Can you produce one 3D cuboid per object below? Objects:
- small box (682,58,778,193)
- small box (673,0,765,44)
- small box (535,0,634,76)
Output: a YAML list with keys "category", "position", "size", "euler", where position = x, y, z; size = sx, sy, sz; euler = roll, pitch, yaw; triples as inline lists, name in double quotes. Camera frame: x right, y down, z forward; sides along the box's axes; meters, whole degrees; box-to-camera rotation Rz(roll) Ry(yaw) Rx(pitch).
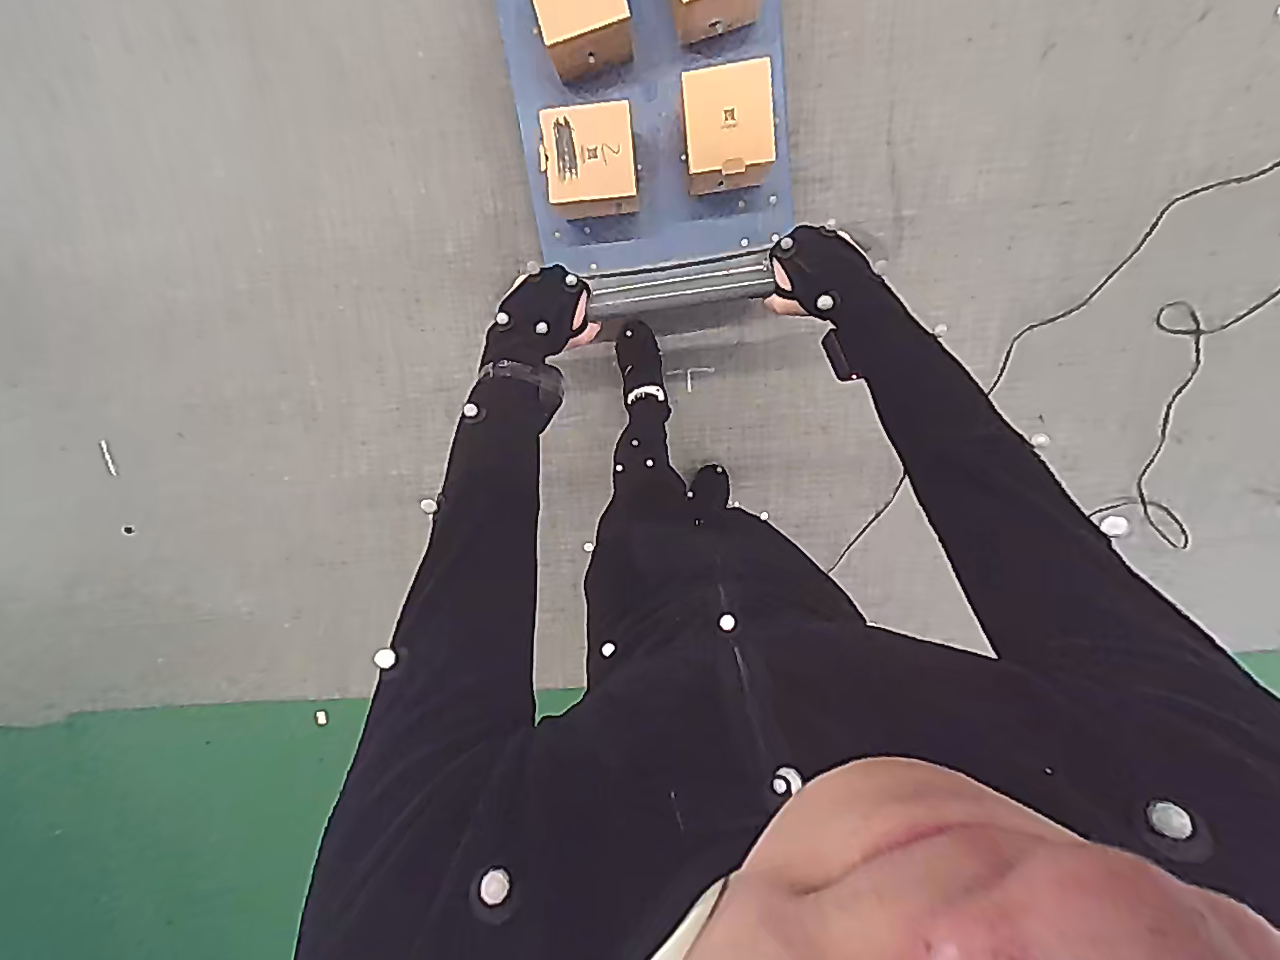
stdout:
- category: "small box"
  position: [0.177, -0.707, 1.097]
  size: [0.168, 0.176, 0.179]
  euler: [-7, 106, 5]
- category: "small box"
  position: [0.141, -0.981, 1.019]
  size: [0.168, 0.176, 0.179]
  euler: [-14, 106, 7]
- category: "small box"
  position: [-0.111, -0.924, 1.046]
  size: [0.168, 0.176, 0.179]
  euler: [-15, 105, 6]
